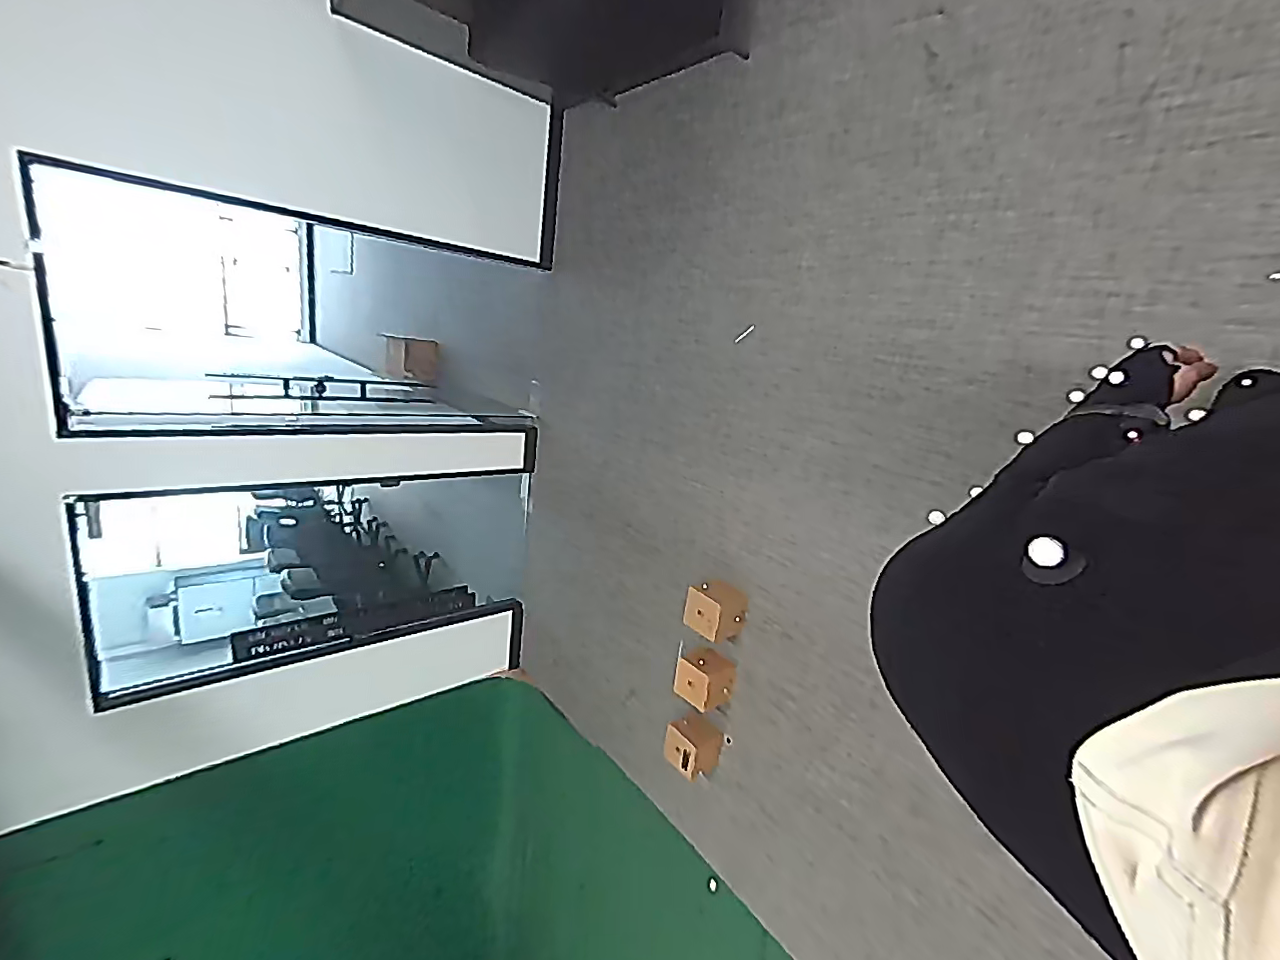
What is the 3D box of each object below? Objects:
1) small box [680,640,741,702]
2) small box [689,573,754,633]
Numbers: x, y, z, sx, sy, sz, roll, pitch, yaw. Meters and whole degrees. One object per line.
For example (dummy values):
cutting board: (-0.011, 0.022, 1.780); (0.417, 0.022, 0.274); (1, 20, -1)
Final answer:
small box: (0.295, 0.792, 2.267); (0.179, 0.176, 0.168); (22, 111, 46)
small box: (0.329, 0.489, 2.189); (0.179, 0.176, 0.168); (26, 114, 46)
